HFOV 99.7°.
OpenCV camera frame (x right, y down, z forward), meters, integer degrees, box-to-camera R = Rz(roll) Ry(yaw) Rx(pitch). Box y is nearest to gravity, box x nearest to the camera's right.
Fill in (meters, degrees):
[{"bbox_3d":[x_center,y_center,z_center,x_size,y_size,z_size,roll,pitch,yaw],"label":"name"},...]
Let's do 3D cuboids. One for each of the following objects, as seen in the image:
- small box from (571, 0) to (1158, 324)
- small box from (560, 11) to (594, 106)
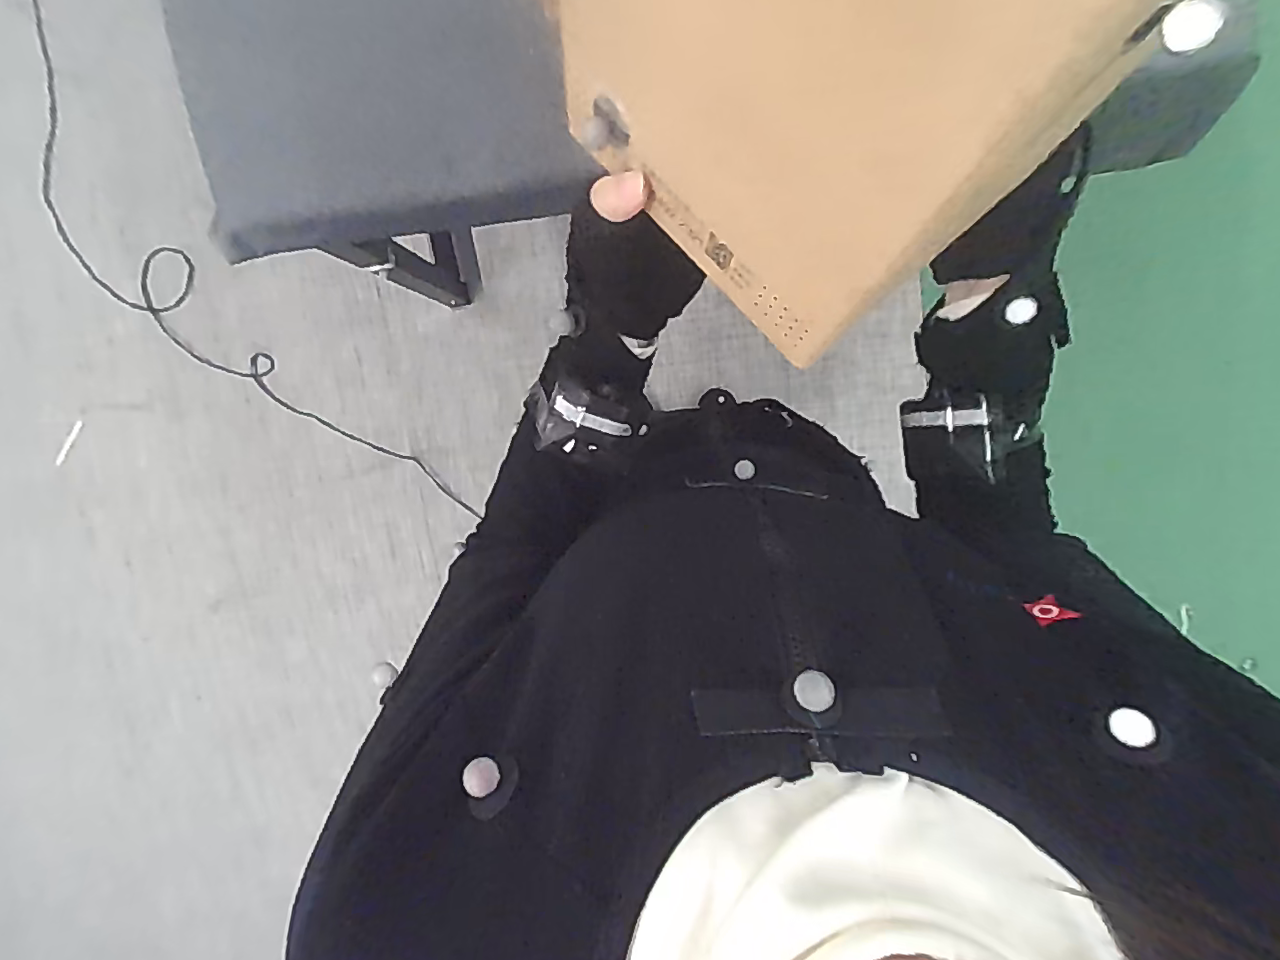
[{"bbox_3d":[0.085,-0.192,0.195,0.179,0.176,0.168,-41,84,-11],"label":"small box"},{"bbox_3d":[0.009,-0.503,0.535,0.179,0.176,0.168,-5,98,1],"label":"small box"}]
